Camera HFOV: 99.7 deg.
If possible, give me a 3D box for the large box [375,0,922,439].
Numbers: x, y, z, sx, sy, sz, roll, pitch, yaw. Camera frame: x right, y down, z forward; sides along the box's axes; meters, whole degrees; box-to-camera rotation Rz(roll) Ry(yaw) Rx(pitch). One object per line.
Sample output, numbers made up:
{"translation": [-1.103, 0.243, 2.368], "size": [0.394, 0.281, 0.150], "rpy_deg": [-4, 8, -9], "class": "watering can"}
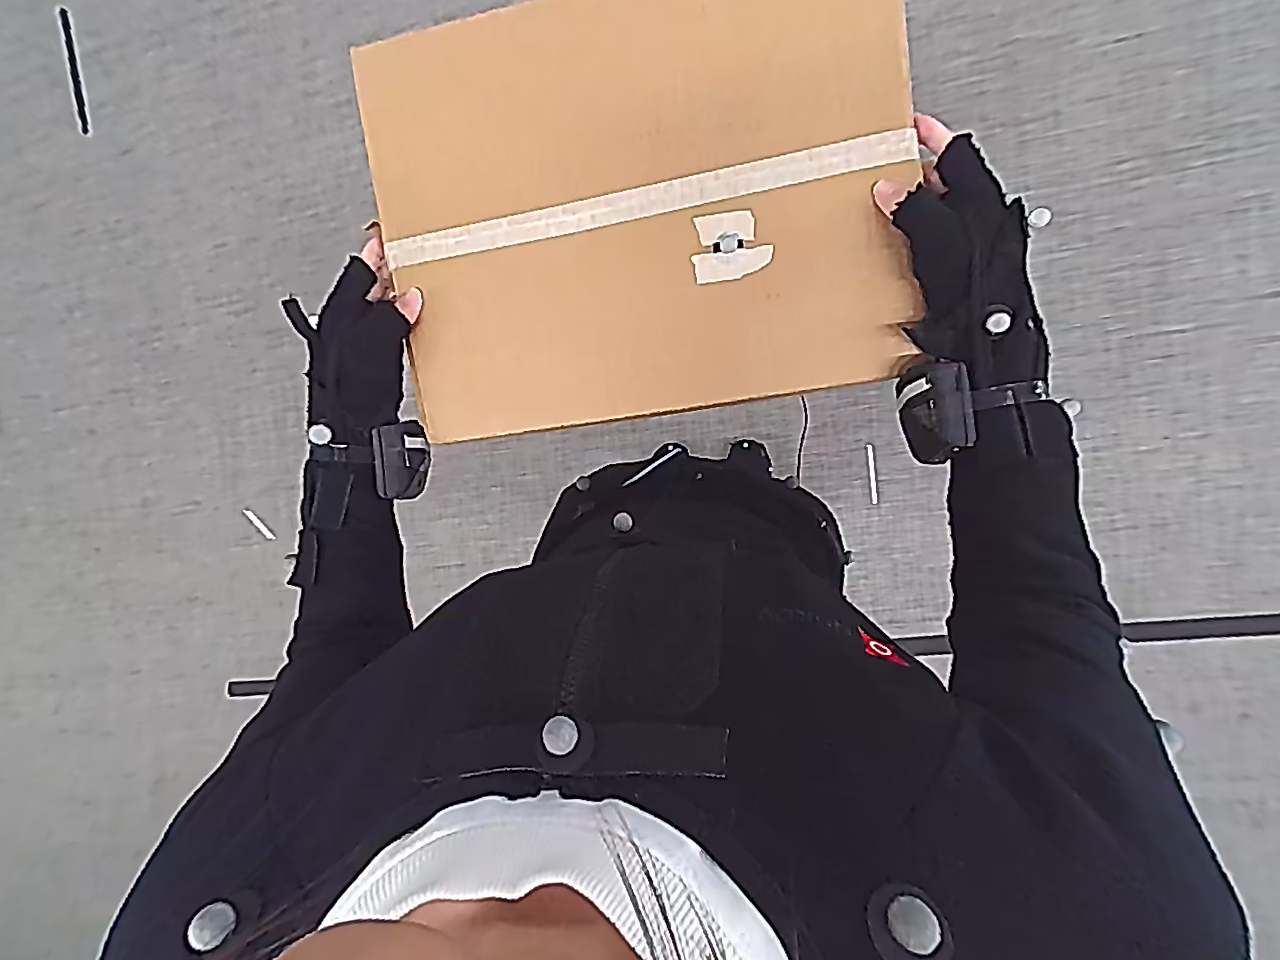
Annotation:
{"translation": [0.017, -0.232, 0.571], "size": [0.408, 0.320, 0.320], "rpy_deg": [-8, 97, 9], "class": "large box"}
